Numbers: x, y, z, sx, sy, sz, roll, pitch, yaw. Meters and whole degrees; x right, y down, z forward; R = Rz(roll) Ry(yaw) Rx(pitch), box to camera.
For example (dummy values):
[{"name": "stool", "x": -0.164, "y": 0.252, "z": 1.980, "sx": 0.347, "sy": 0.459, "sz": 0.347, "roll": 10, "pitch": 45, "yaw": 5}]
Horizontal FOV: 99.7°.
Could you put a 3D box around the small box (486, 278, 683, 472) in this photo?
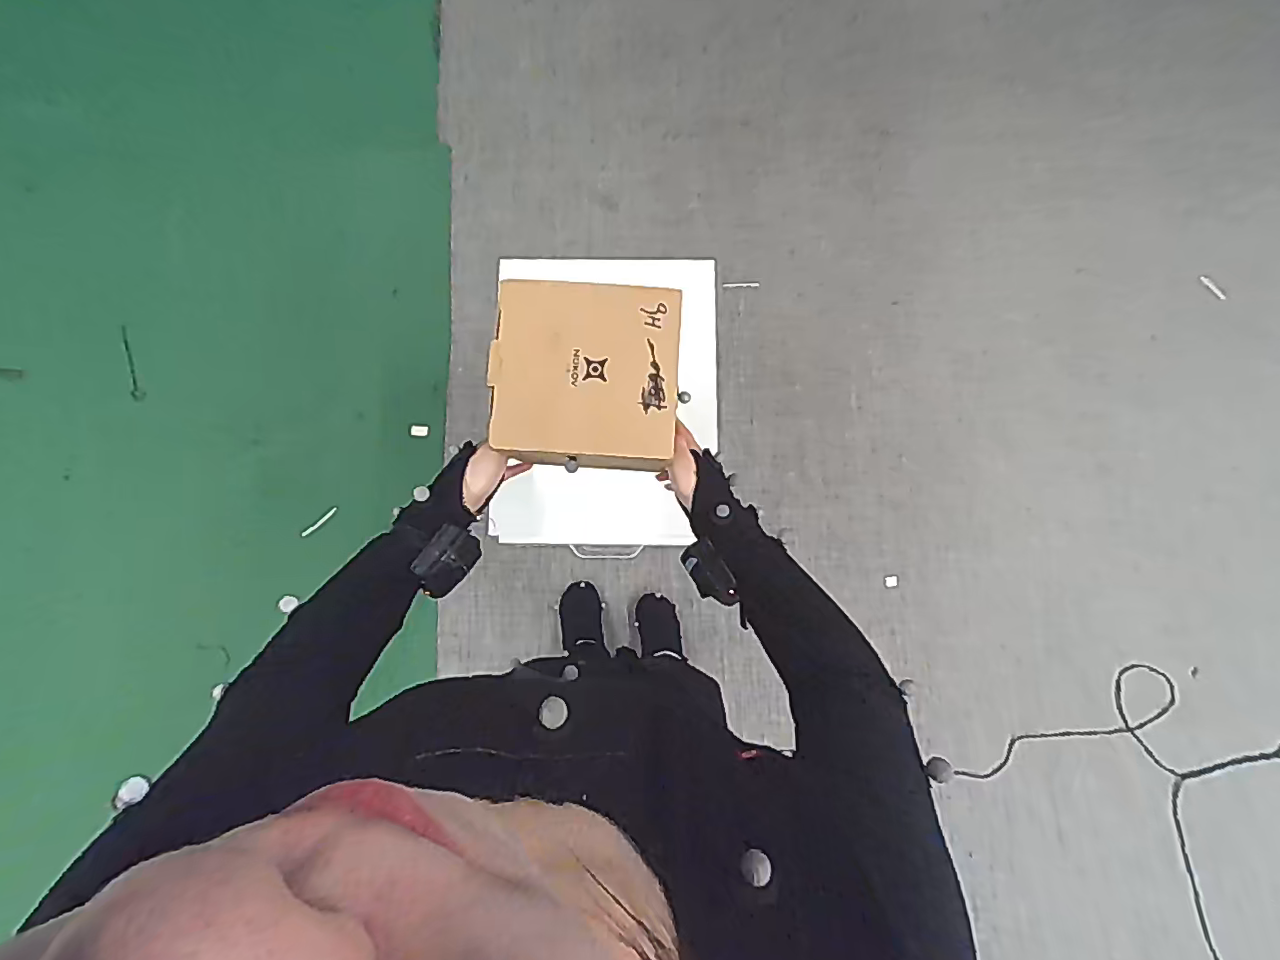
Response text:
[{"name": "small box", "x": -0.051, "y": -0.100, "z": 0.586, "sx": 0.179, "sy": 0.176, "sz": 0.168, "roll": 4, "pitch": 87, "yaw": 0}]
